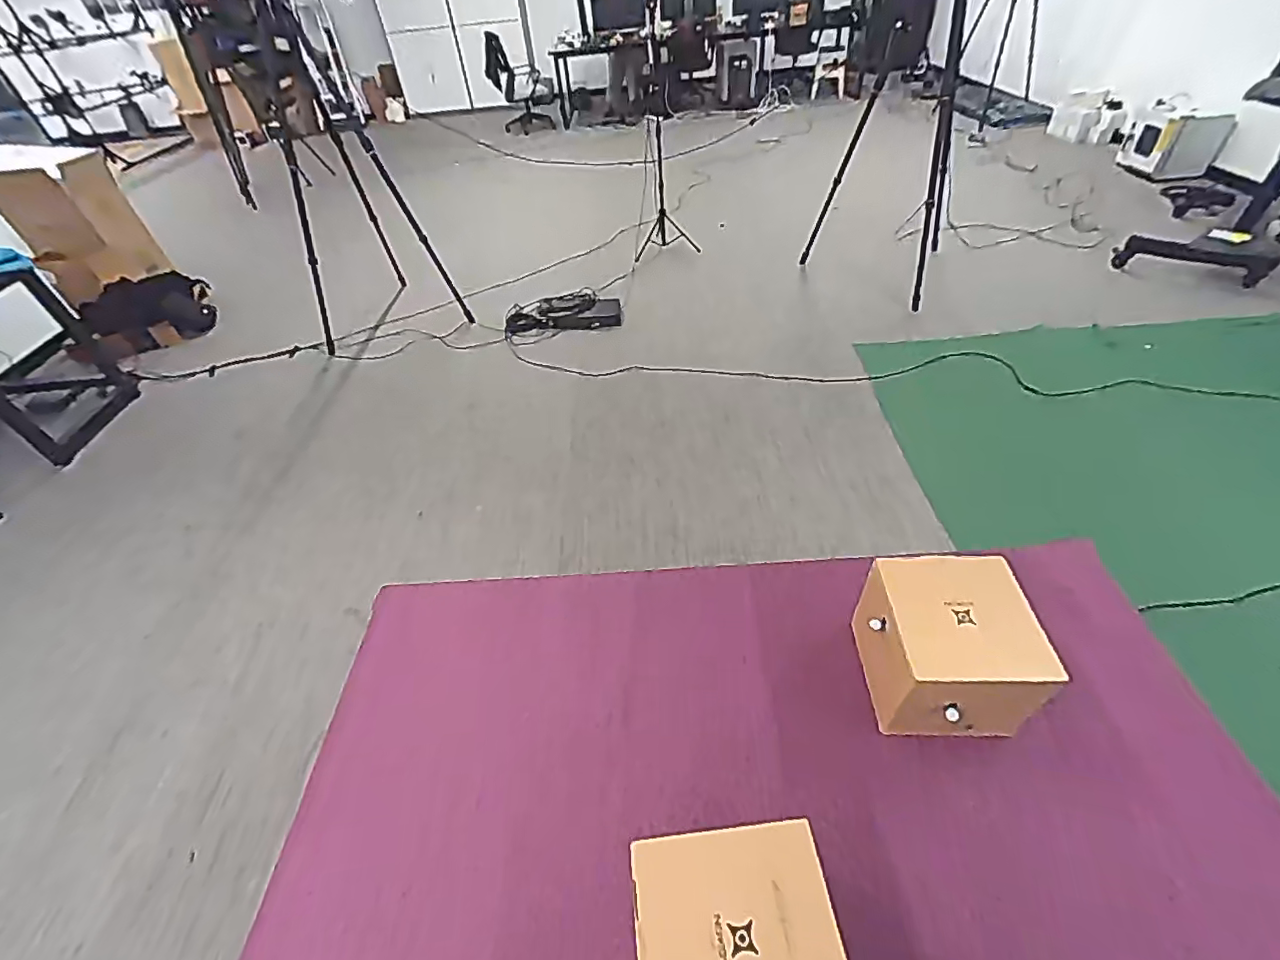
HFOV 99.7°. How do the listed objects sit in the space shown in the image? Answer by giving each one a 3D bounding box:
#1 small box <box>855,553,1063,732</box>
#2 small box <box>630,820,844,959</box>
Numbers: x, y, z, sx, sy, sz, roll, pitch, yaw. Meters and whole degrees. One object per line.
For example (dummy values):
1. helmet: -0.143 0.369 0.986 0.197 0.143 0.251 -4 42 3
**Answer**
1. small box: 0.399 0.218 0.716 0.168 0.176 0.179 -2 44 6
2. small box: 0.090 0.451 0.518 0.179 0.176 0.168 -7 44 0
